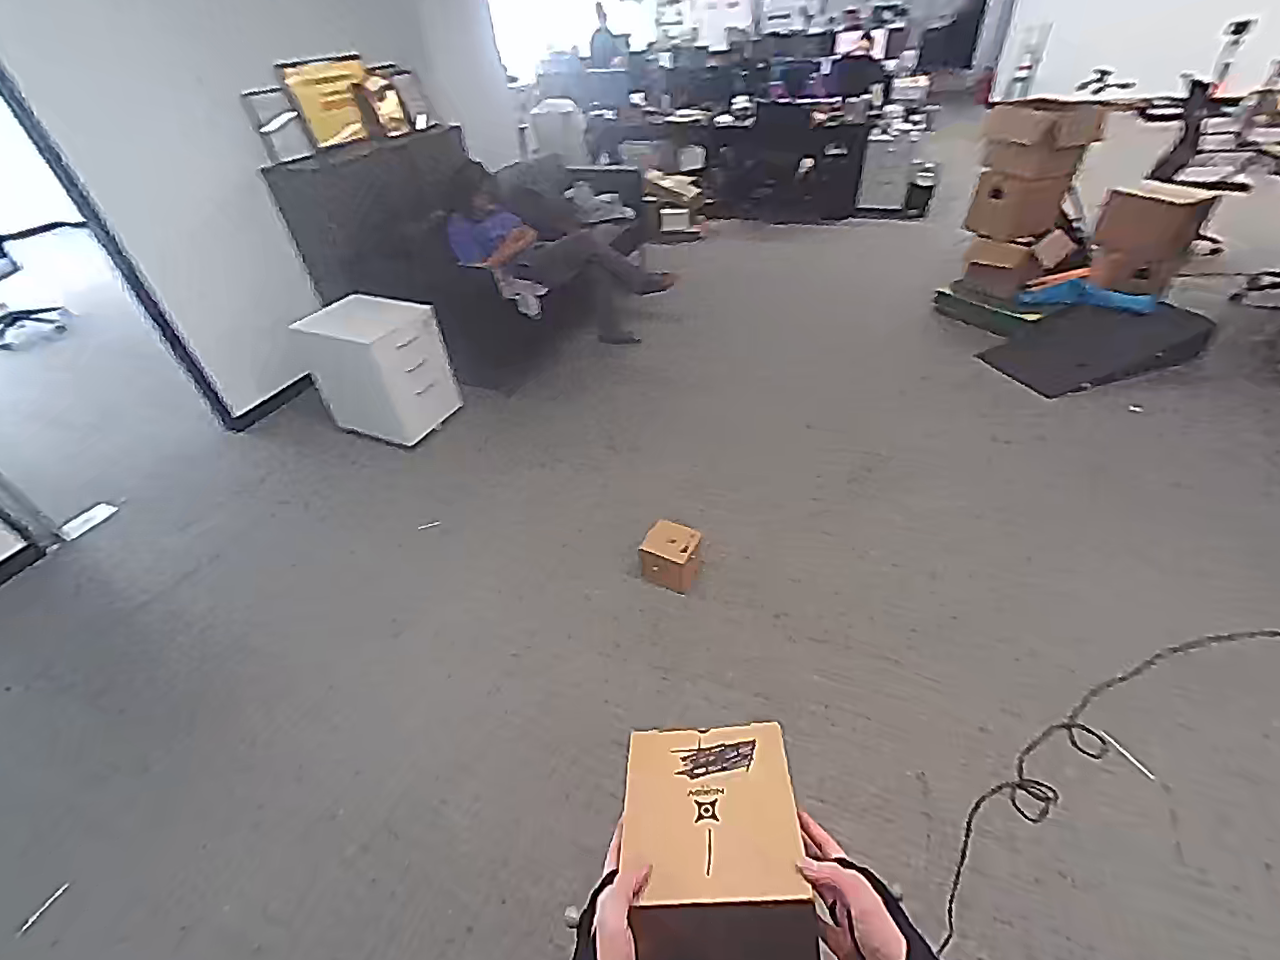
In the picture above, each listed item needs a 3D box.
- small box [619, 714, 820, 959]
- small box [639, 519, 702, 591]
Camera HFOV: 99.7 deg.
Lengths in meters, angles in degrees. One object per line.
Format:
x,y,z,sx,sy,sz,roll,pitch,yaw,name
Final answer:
0.082,0.373,0.555,0.168,0.176,0.179,-8,24,9,small box
0.113,0.276,1.973,0.179,0.176,0.168,17,44,24,small box
